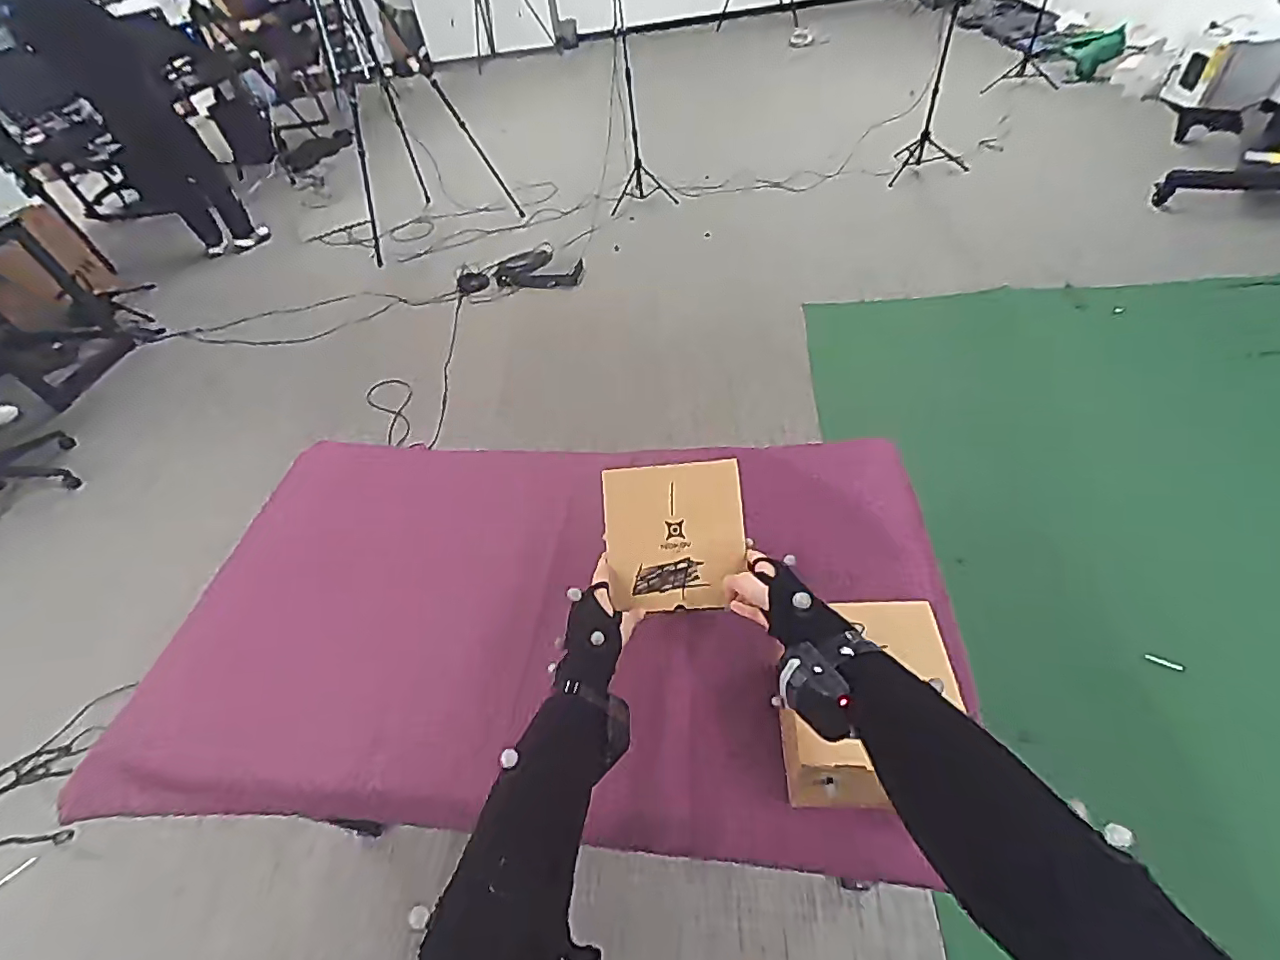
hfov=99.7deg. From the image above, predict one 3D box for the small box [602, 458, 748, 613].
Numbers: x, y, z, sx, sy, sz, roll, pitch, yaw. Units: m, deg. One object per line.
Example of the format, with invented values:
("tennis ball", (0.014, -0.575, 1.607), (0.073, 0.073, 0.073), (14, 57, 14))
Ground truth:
("small box", (0.047, 0.074, 0.711), (0.168, 0.176, 0.179), (-4, 82, 4))
